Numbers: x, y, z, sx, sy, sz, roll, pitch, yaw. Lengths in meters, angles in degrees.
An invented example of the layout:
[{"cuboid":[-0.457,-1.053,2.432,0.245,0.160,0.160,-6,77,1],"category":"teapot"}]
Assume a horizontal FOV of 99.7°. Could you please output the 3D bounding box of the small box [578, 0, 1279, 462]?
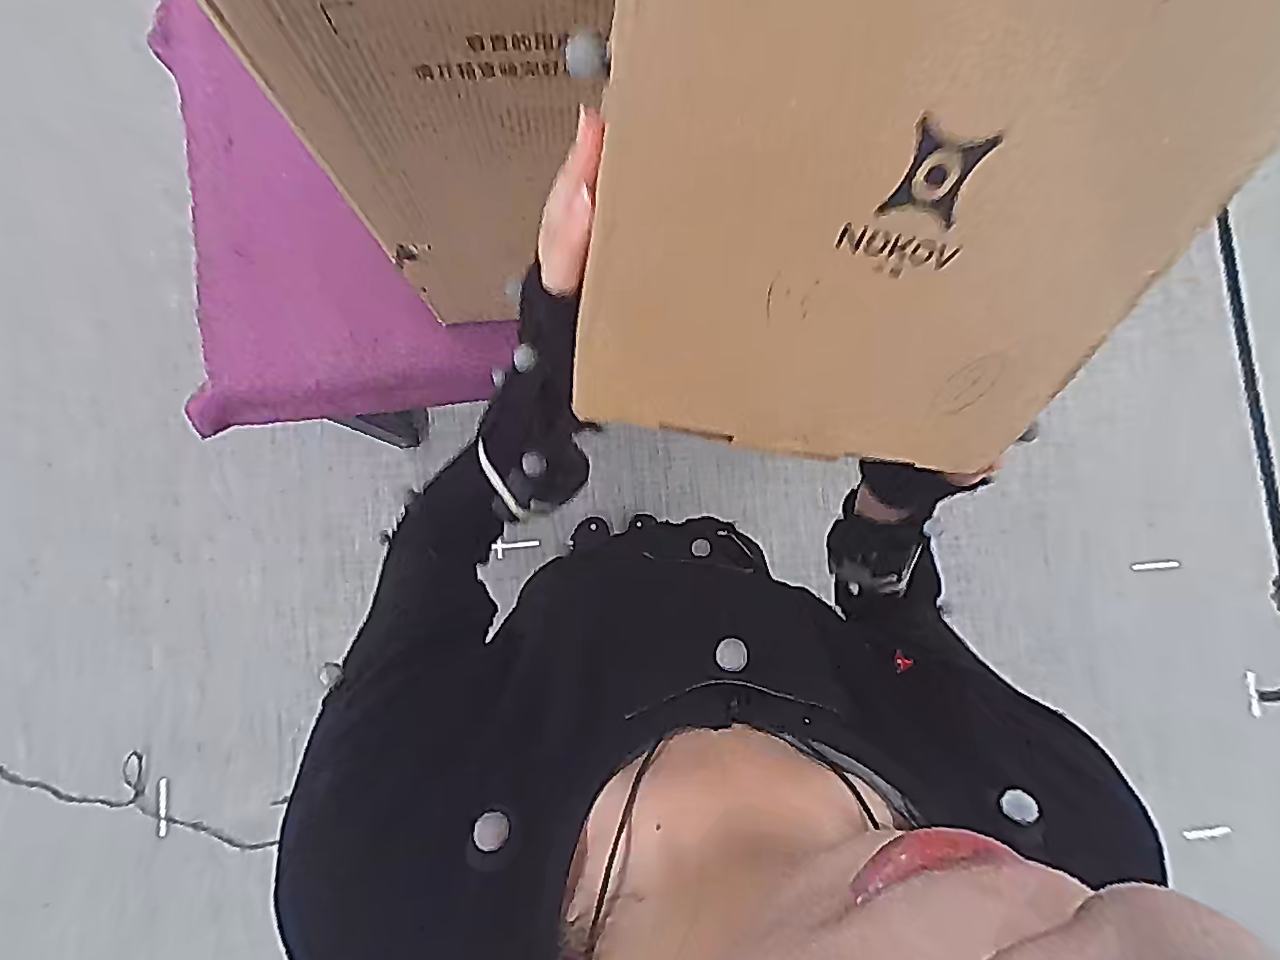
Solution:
[{"cuboid":[0.072,-0.133,0.202,0.168,0.179,0.176,6,42,-10],"category":"small box"}]
